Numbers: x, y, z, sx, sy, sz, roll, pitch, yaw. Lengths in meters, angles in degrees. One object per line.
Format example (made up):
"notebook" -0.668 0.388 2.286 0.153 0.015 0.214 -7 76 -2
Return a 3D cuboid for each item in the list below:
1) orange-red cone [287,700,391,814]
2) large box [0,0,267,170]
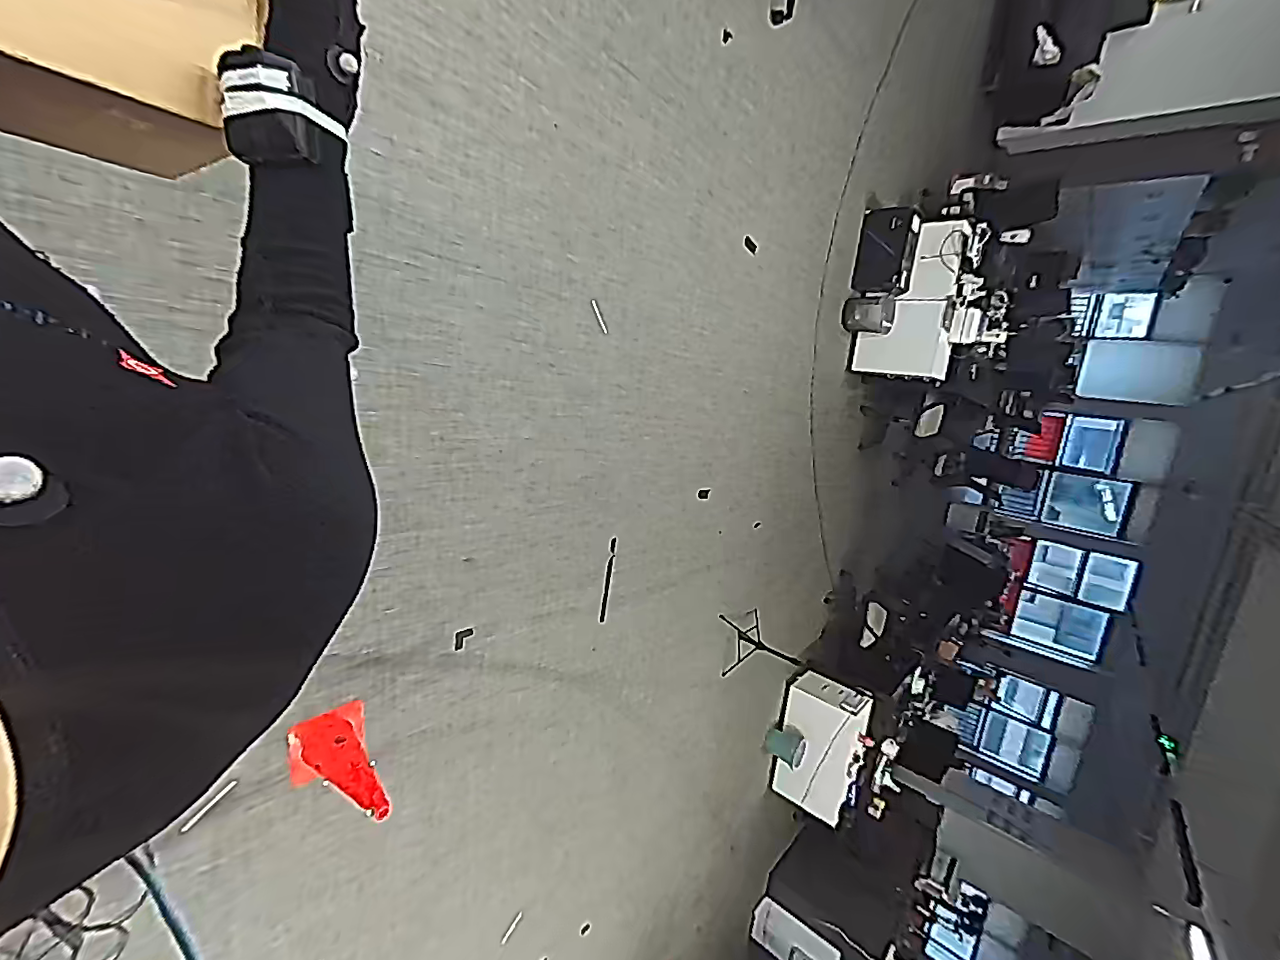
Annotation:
"orange-red cone" -0.786 0.794 1.474 0.198 0.360 0.199 -9 108 -50
"large box" -0.511 -0.435 0.325 0.408 0.320 0.320 -6 110 -51
